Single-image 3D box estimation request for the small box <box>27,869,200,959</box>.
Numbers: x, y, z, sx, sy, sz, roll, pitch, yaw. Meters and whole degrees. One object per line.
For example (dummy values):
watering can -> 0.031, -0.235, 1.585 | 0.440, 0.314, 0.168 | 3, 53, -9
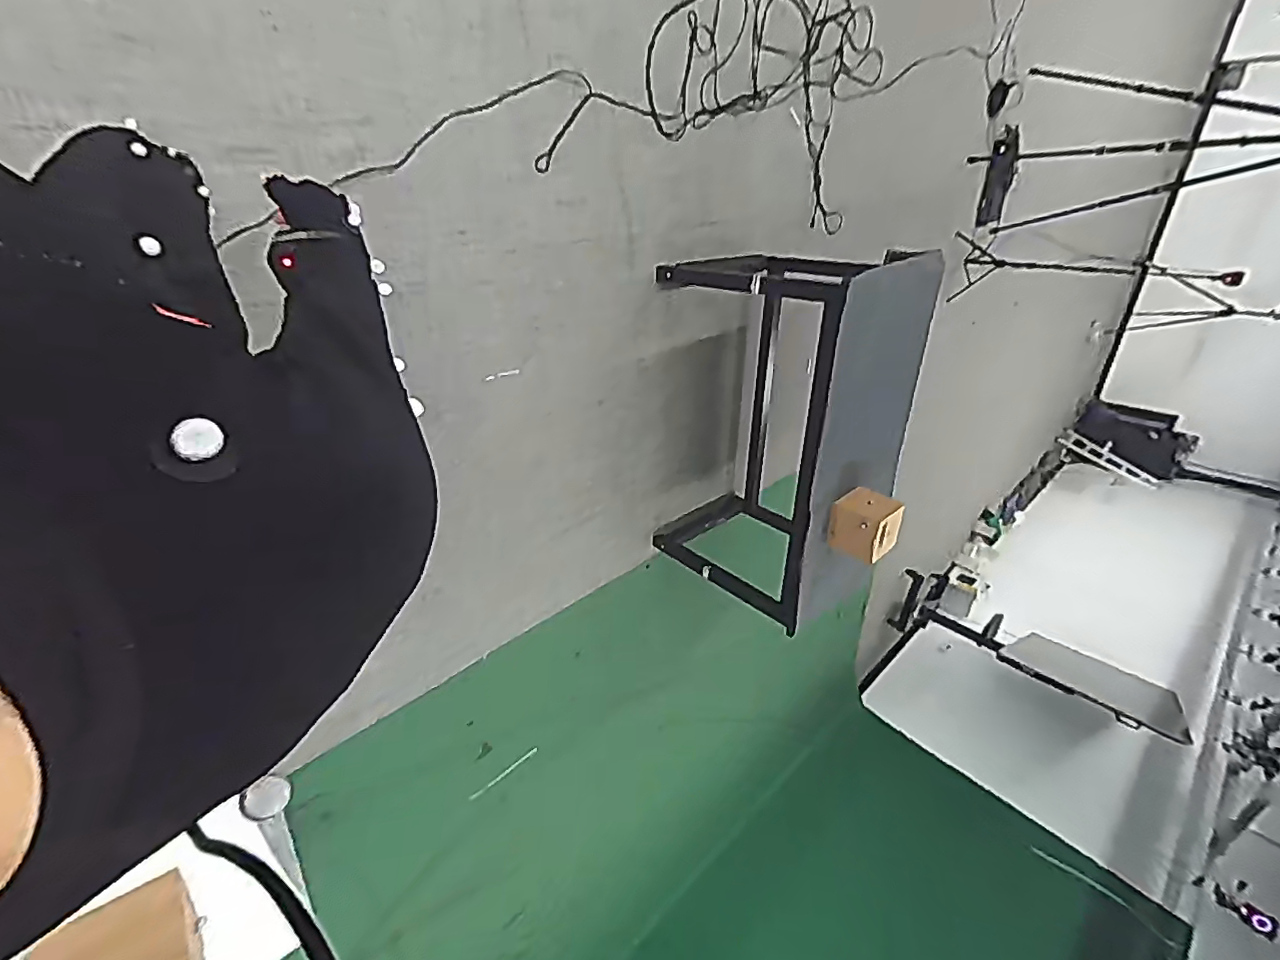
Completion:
small box -> -0.776, 0.745, 0.803 | 0.179, 0.176, 0.168 | -15, 121, -40
